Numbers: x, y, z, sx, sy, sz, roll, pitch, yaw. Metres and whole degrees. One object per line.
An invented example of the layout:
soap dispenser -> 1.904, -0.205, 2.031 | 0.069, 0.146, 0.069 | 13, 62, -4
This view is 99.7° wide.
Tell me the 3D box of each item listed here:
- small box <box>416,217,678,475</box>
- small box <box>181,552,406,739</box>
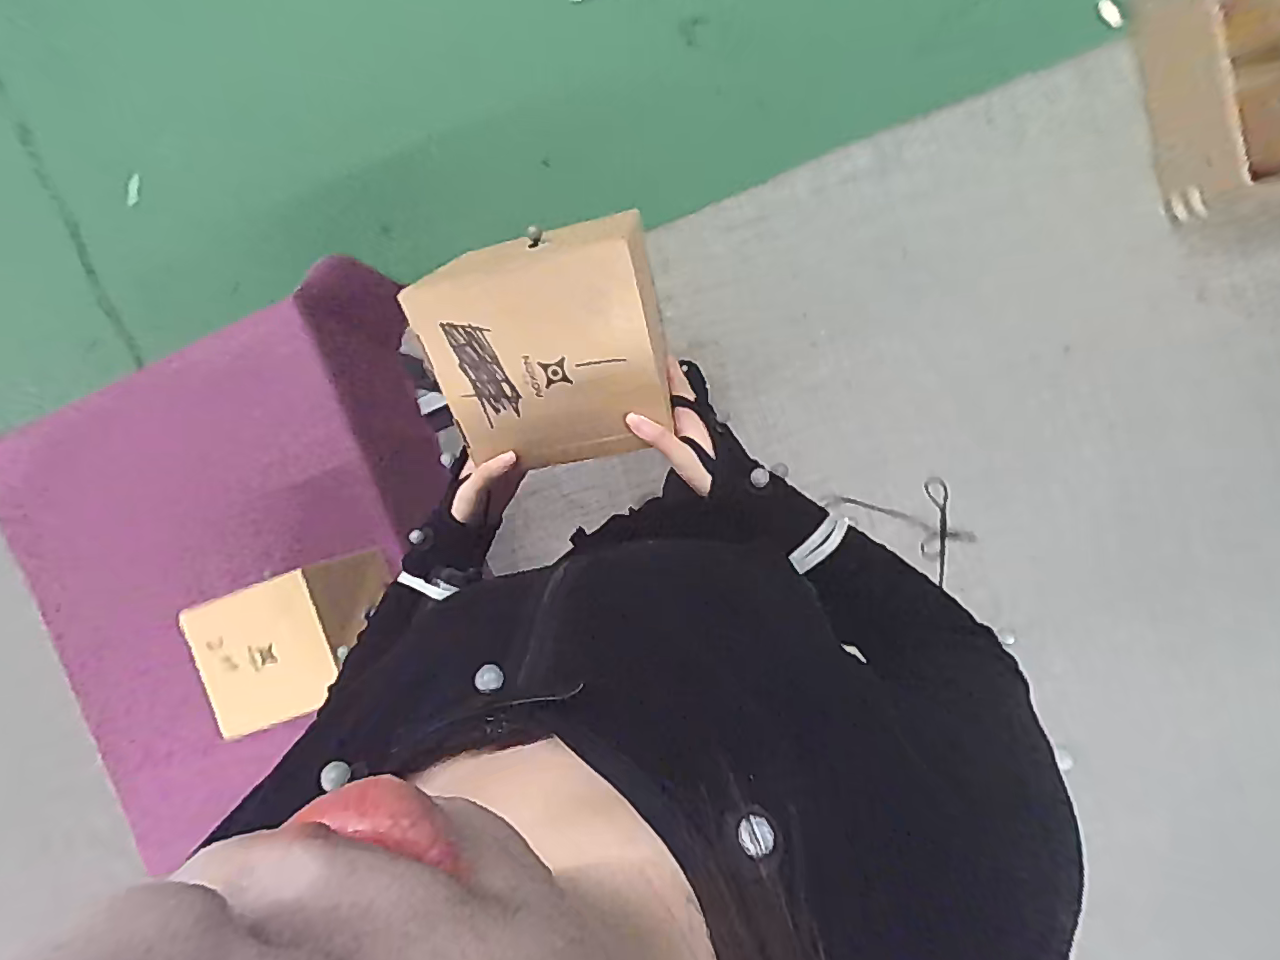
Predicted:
small box -> -0.062, -0.126, 0.491 | 0.179, 0.176, 0.168 | -9, 122, 8
small box -> -0.446, 0.209, 0.732 | 0.179, 0.176, 0.168 | -20, 90, 6
